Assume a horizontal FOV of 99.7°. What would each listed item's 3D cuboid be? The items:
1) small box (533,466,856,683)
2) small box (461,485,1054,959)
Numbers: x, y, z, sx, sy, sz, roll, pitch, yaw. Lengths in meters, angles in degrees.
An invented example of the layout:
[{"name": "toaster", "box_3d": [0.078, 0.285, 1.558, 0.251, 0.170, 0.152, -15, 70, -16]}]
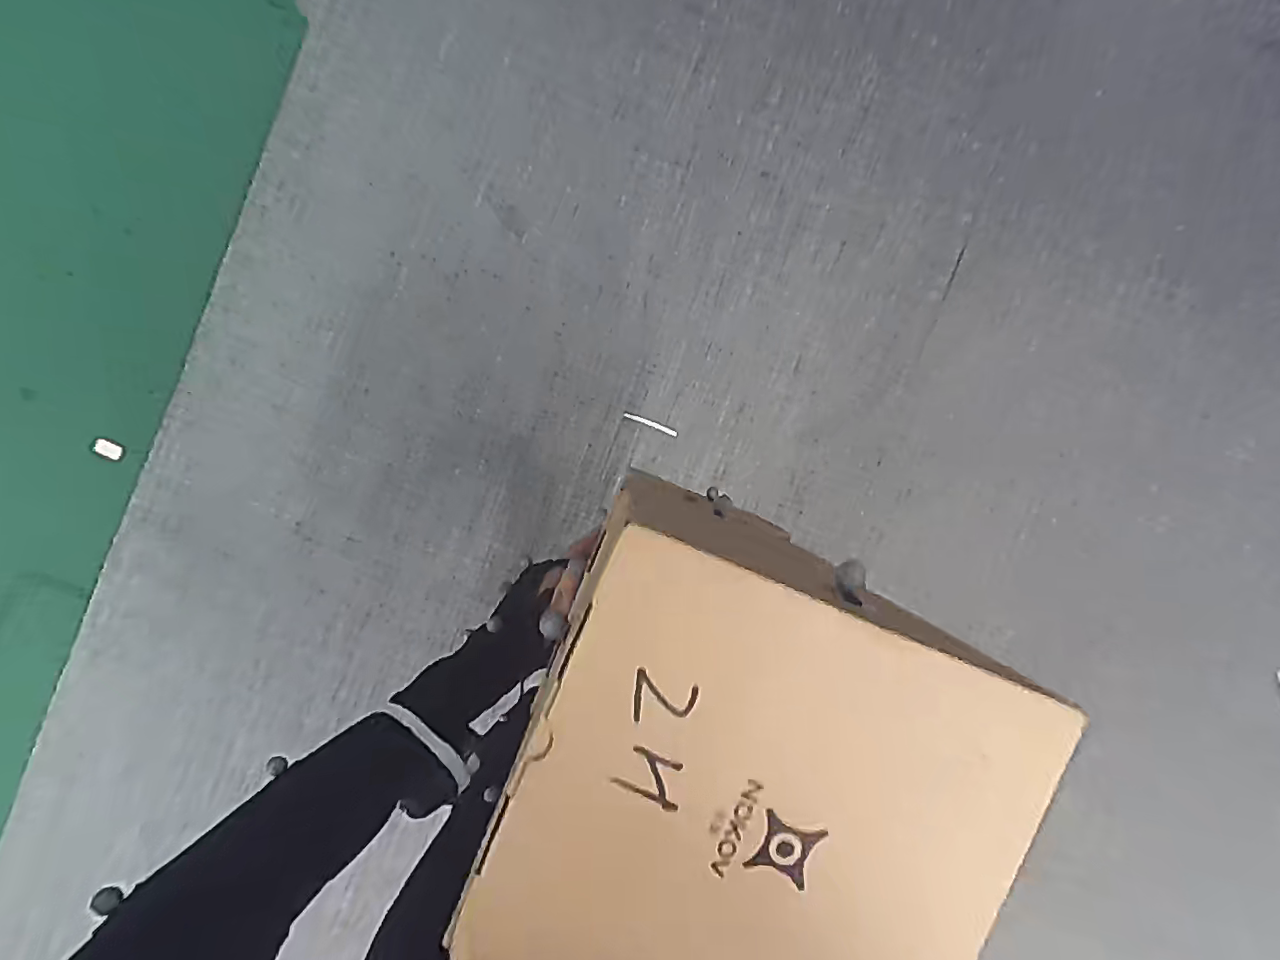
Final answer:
[{"name": "small box", "box_3d": [0.038, 0.097, 0.446, 0.179, 0.176, 0.168, 23, 93, 0]}, {"name": "small box", "box_3d": [0.043, 0.106, 0.281, 0.179, 0.176, 0.168, 24, 91, 0]}]
